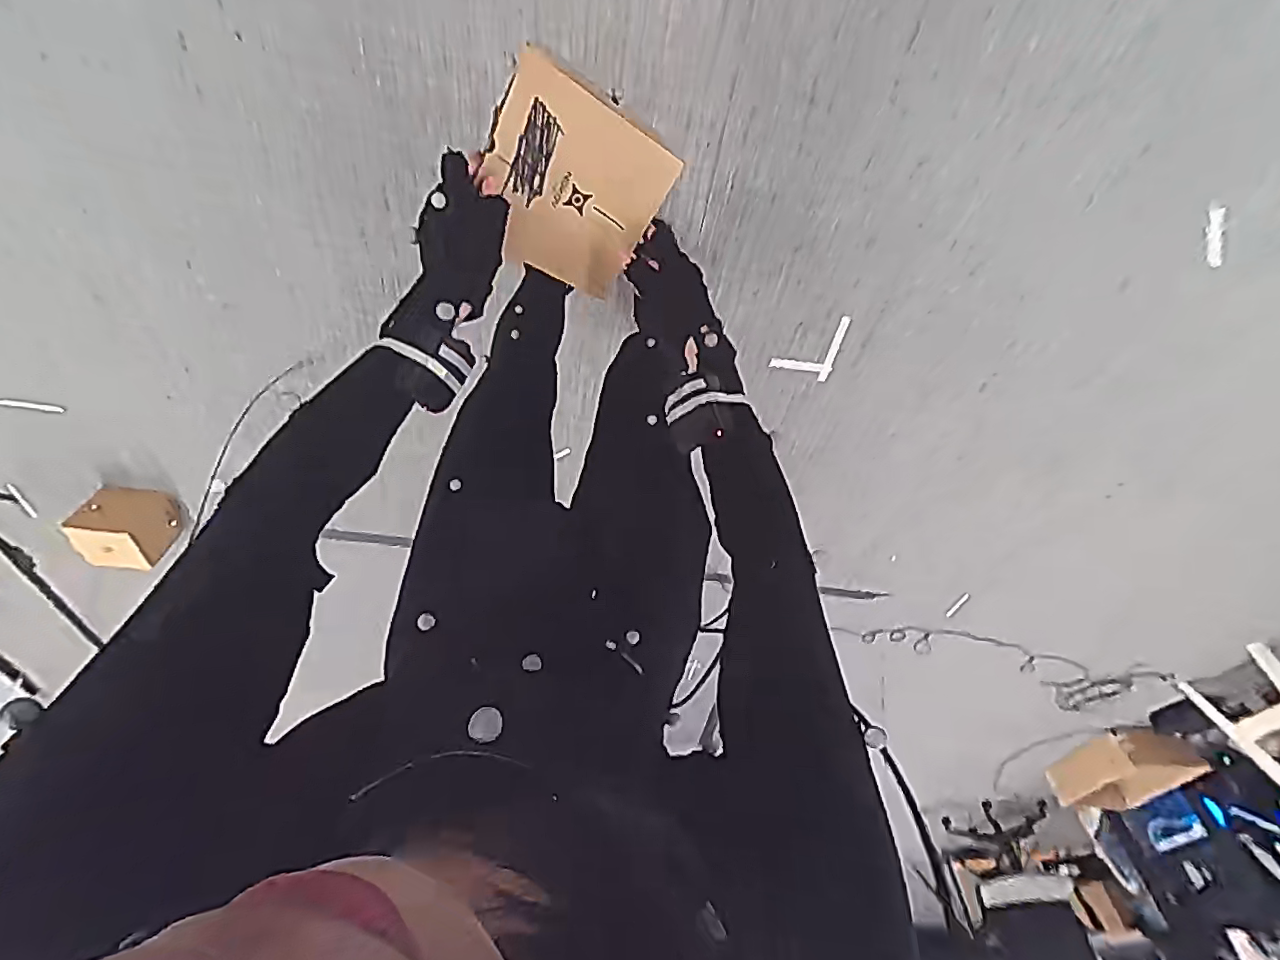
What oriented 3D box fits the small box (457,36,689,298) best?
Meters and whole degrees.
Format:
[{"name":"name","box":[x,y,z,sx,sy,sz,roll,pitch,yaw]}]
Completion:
[{"name":"small box","box":[-0.076,-0.337,0.590,0.179,0.176,0.168,22,124,-25]}]

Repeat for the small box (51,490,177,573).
[{"name":"small box","box":[-1.532,0.148,1.589,0.179,0.176,0.168,7,132,-8]}]
